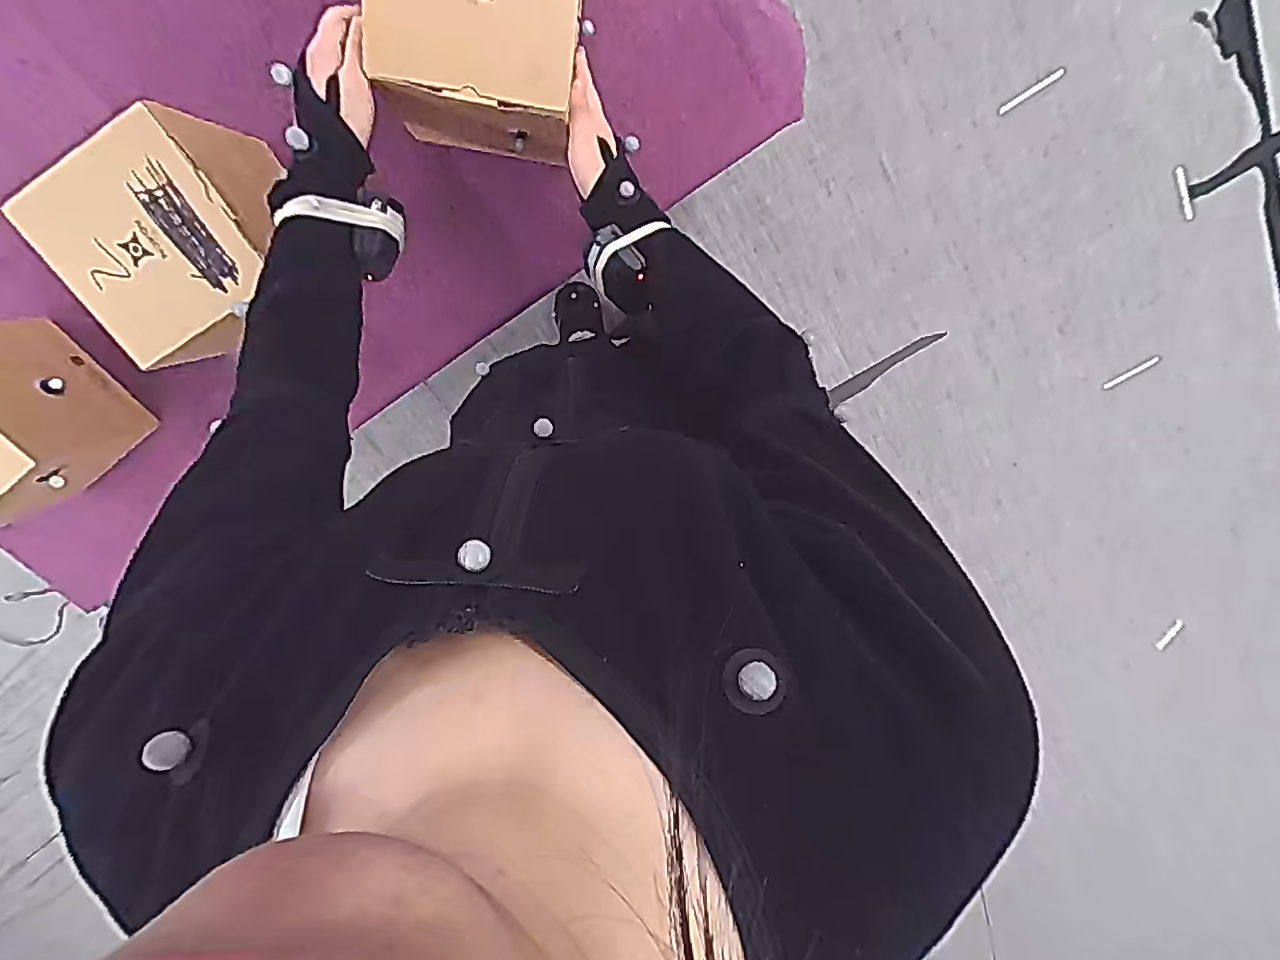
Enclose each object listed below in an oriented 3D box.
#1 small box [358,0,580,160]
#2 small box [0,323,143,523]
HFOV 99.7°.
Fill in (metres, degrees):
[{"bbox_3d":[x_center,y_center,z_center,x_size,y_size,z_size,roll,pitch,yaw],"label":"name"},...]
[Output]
[{"bbox_3d":[-0.142,-0.419,0.496,0.168,0.176,0.179,4,104,-9],"label":"small box"},{"bbox_3d":[-0.740,-0.061,0.618,0.179,0.176,0.168,-34,108,10],"label":"small box"}]
